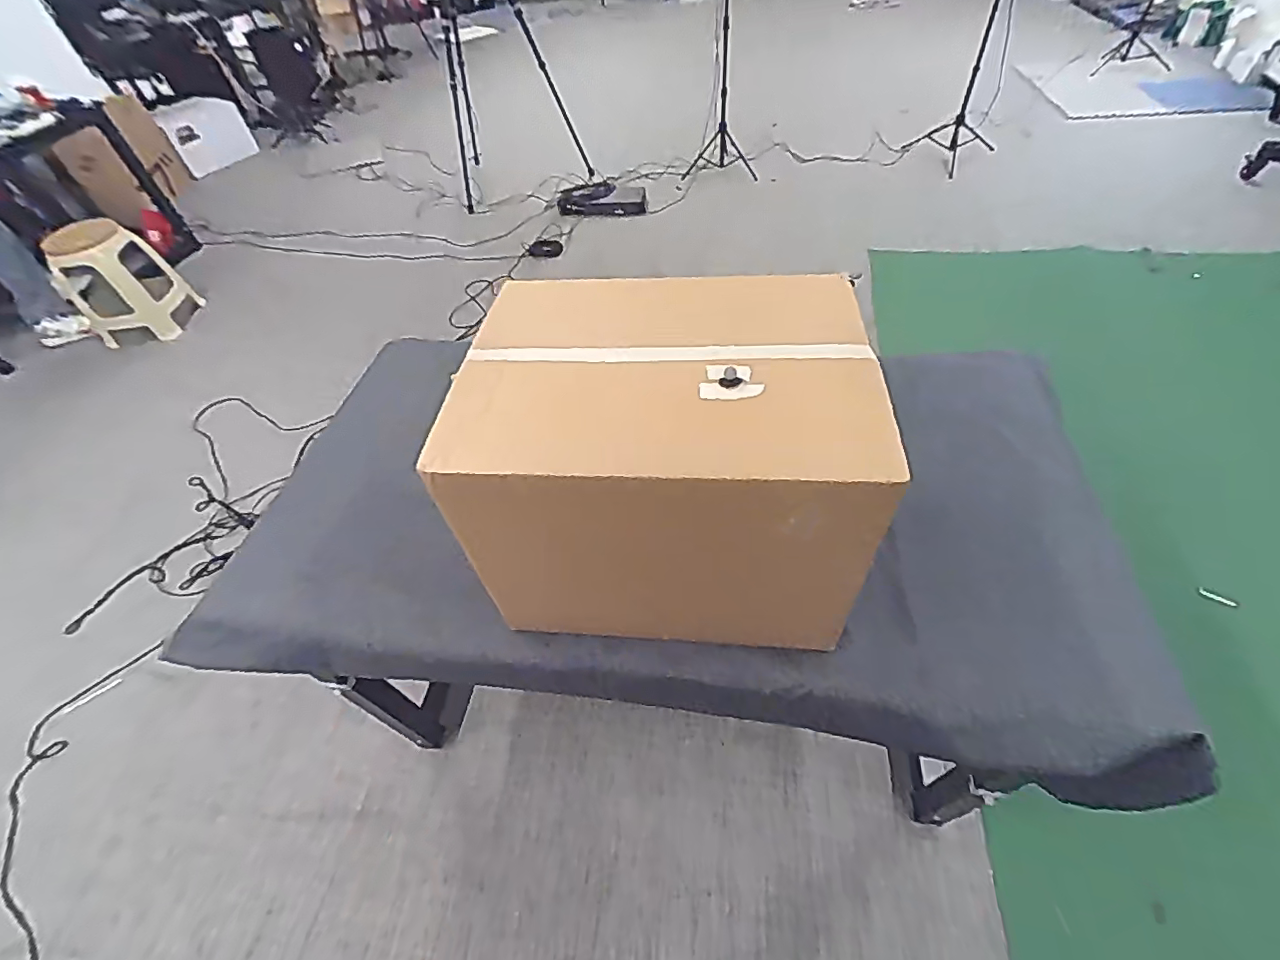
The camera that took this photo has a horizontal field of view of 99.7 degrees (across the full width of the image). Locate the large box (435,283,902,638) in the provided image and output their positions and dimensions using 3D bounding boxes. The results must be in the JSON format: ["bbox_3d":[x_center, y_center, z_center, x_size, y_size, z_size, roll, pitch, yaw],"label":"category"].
[{"bbox_3d":[0.035,-0.021,0.660,0.408,0.320,0.320,2,49,6],"label":"large box"}]
